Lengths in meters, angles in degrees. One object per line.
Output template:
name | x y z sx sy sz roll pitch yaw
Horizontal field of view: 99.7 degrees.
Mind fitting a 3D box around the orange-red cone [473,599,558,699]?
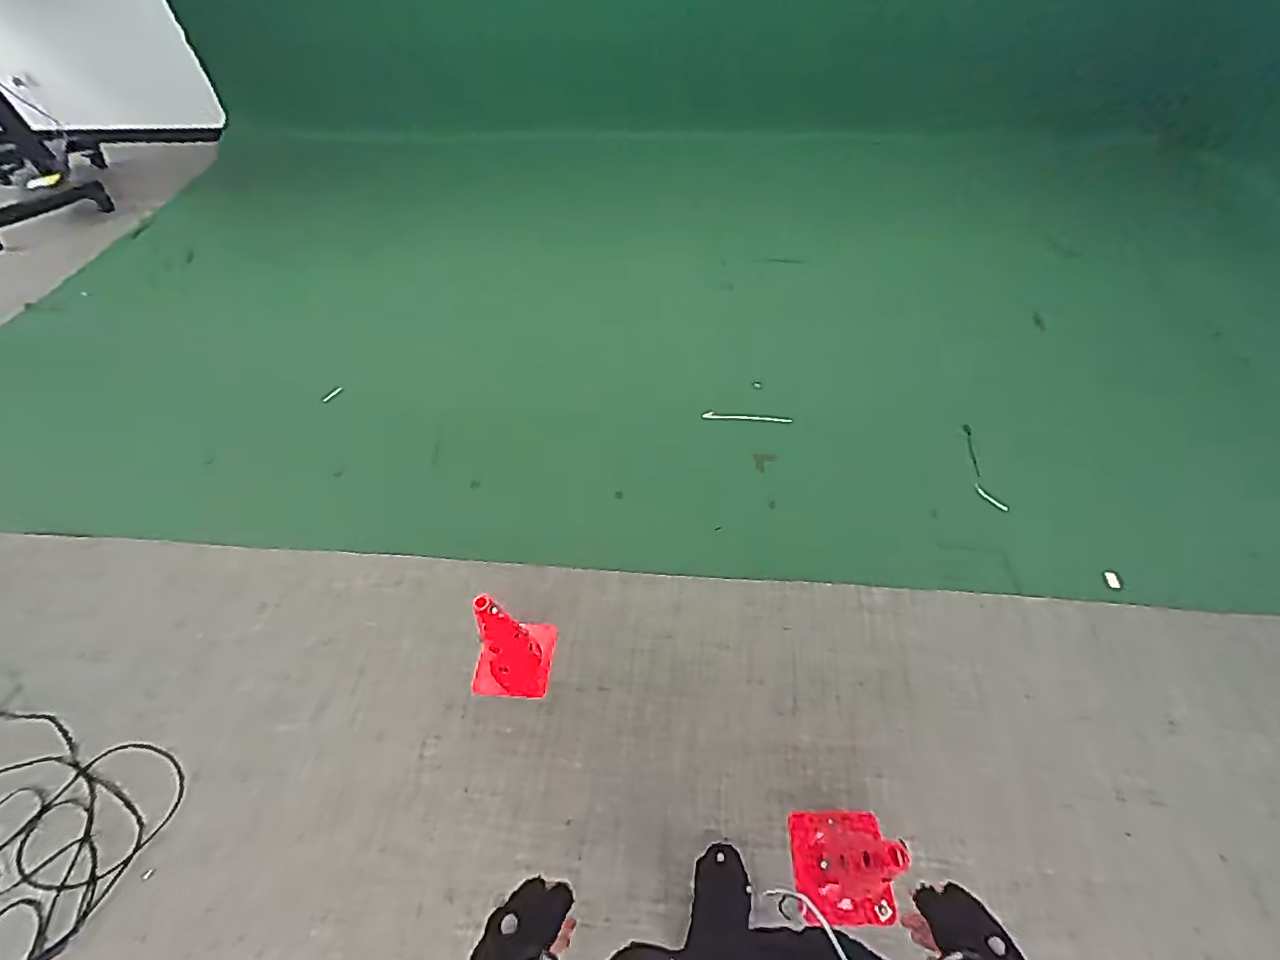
orange-red cone | -0.340 0.386 1.330 0.198 0.360 0.199 2 54 6

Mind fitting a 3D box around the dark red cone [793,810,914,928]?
dark red cone | 0.429 0.711 1.011 0.202 0.394 0.201 -2 51 2
